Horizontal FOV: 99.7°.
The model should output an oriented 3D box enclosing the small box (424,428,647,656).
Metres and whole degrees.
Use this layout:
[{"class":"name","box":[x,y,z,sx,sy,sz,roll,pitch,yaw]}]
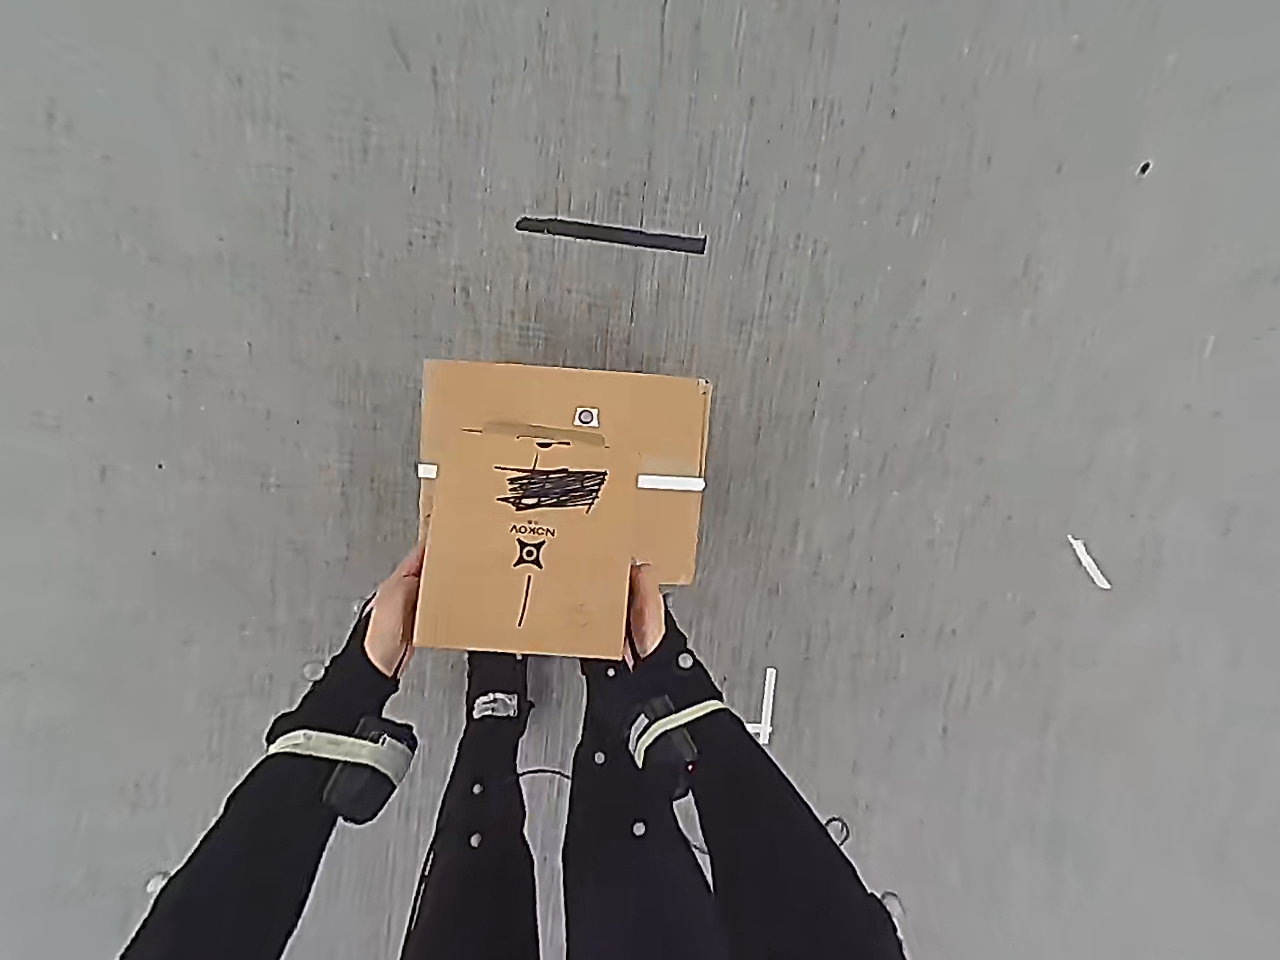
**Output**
[{"class":"small box","box":[-0.094,0.062,0.521,0.168,0.176,0.179,6,81,-8]}]
